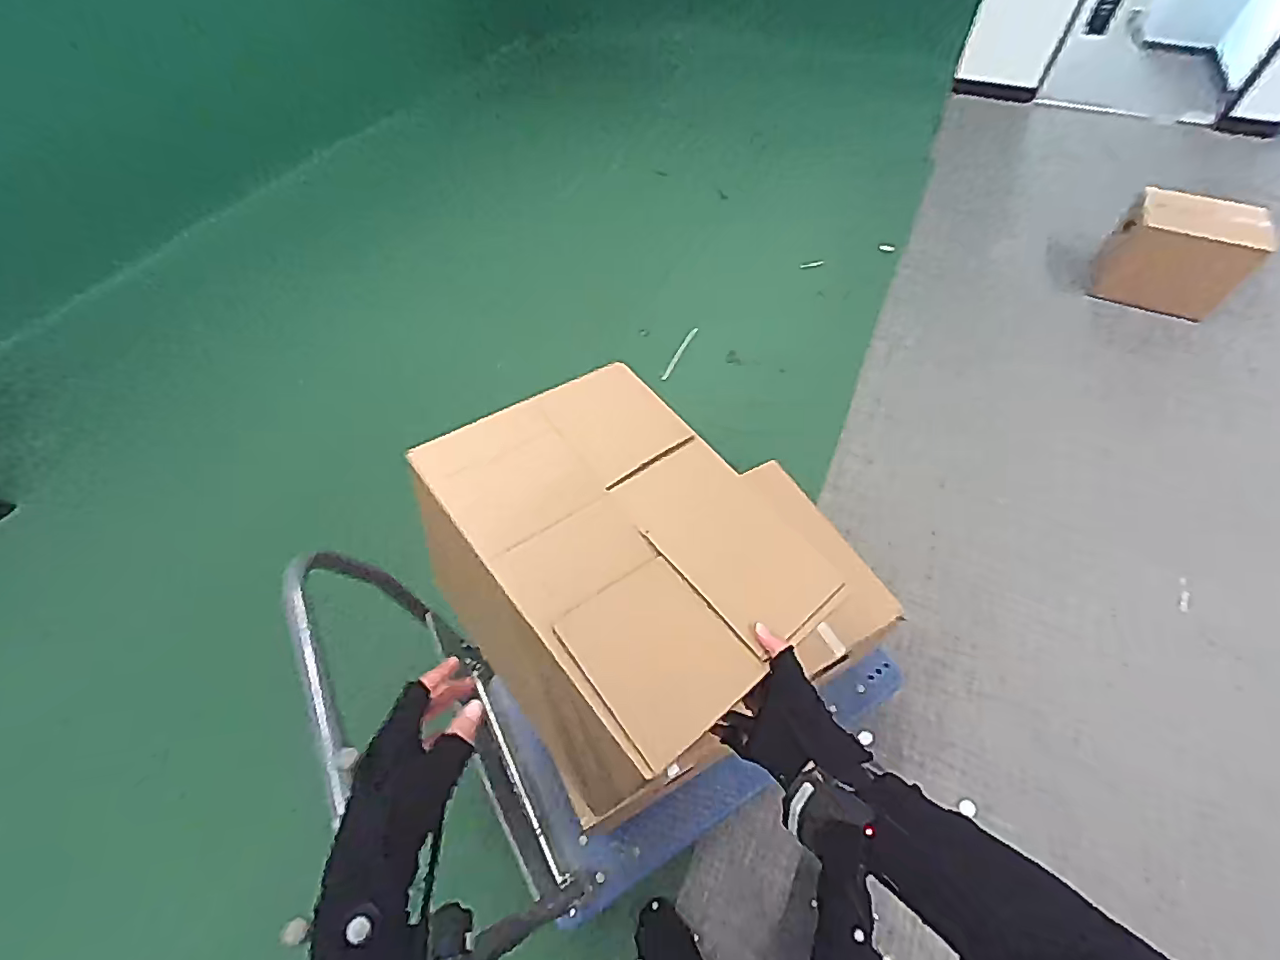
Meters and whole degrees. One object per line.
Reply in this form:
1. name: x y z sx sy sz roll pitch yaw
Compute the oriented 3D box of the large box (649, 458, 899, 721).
1. large box: 0.247 0.234 1.169 0.320 0.320 0.408 -25 60 -14
